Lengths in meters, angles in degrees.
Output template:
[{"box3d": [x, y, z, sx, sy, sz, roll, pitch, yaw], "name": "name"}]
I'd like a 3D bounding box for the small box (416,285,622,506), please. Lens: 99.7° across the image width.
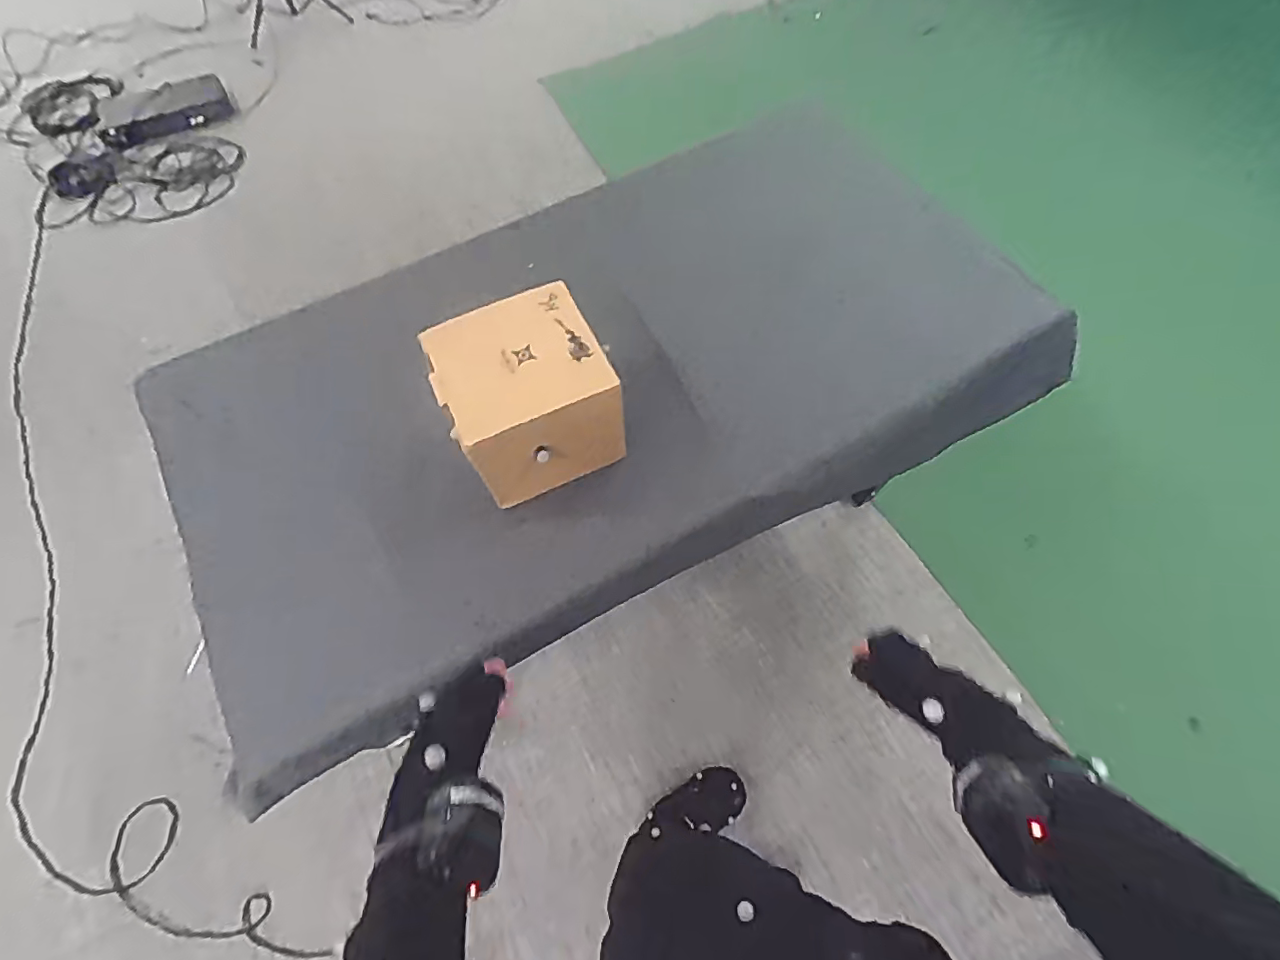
[{"box3d": [-0.134, -0.092, 0.653, 0.179, 0.176, 0.168, -25, 67, -9], "name": "small box"}]
